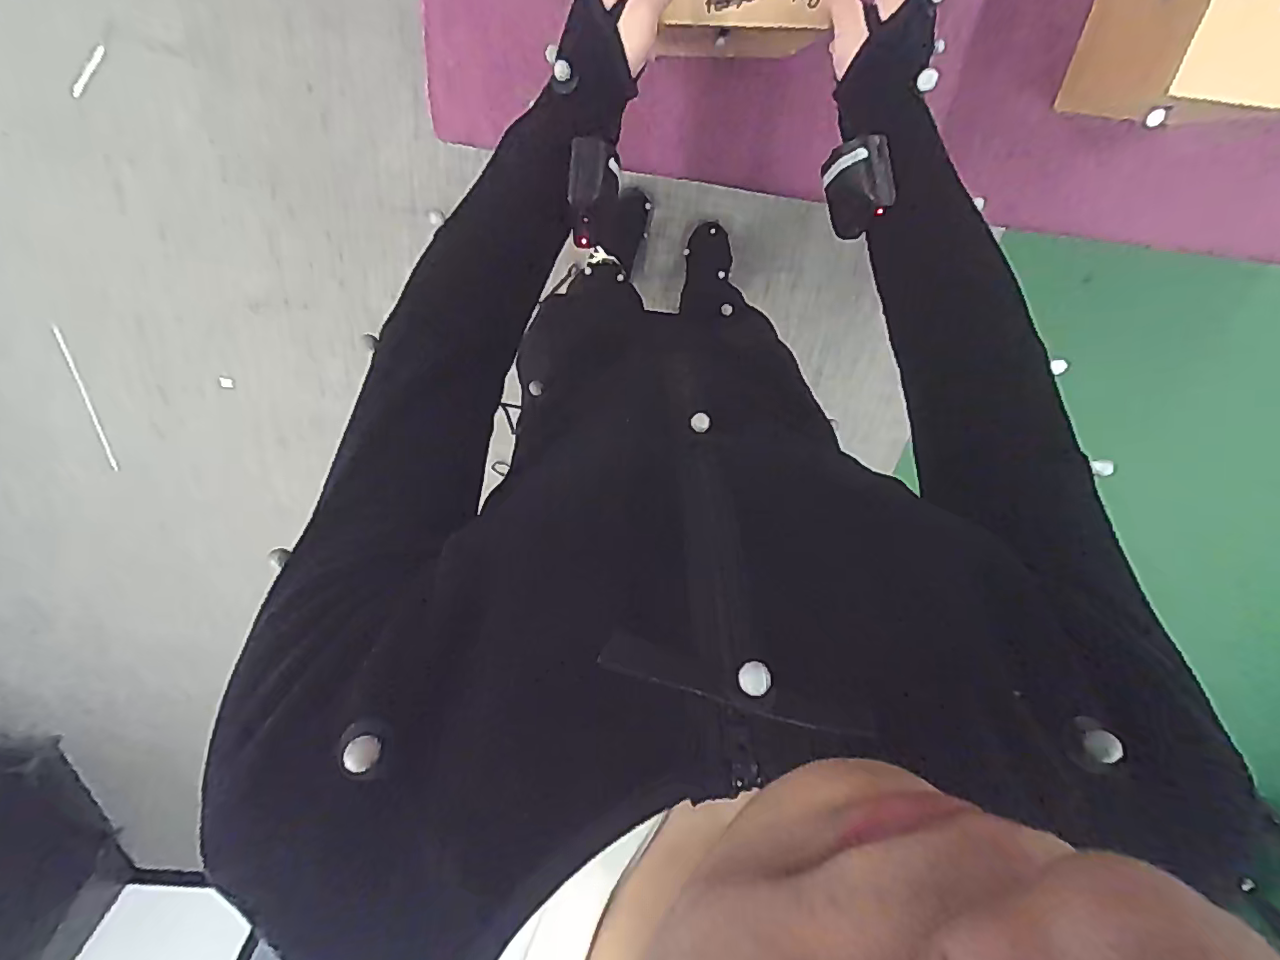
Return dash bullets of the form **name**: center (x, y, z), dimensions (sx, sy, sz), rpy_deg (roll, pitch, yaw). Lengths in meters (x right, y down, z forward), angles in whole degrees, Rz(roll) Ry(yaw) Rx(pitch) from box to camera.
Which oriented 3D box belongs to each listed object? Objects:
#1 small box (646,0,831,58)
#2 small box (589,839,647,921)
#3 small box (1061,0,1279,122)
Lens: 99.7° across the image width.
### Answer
- **small box**: center (0.092, -0.531, 0.518), dimensions (0.168, 0.176, 0.179), rpy_deg (1, 121, -1)
- **small box**: center (-0.075, 1.347, 1.827), dimensions (0.168, 0.176, 0.179), rpy_deg (10, 119, -6)
- **small box**: center (0.585, -0.480, 0.550), dimensions (0.168, 0.176, 0.179), rpy_deg (5, 119, -3)
